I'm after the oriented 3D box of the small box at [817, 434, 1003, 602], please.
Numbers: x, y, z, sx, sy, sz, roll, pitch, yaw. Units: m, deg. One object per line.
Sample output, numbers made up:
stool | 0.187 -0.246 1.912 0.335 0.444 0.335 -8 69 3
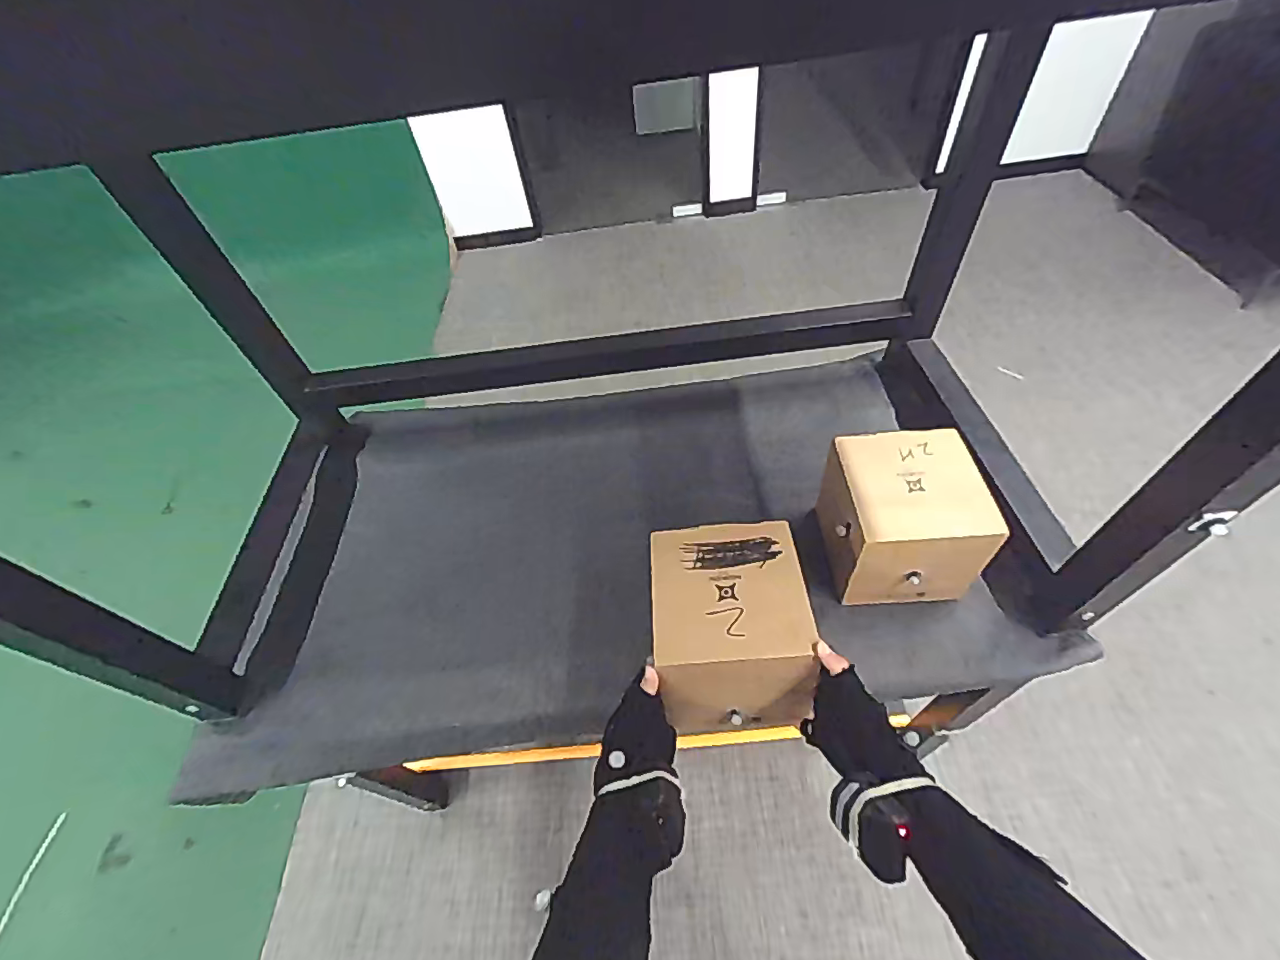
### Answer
small box | 0.354 0.059 0.749 0.168 0.176 0.179 -3 50 5
